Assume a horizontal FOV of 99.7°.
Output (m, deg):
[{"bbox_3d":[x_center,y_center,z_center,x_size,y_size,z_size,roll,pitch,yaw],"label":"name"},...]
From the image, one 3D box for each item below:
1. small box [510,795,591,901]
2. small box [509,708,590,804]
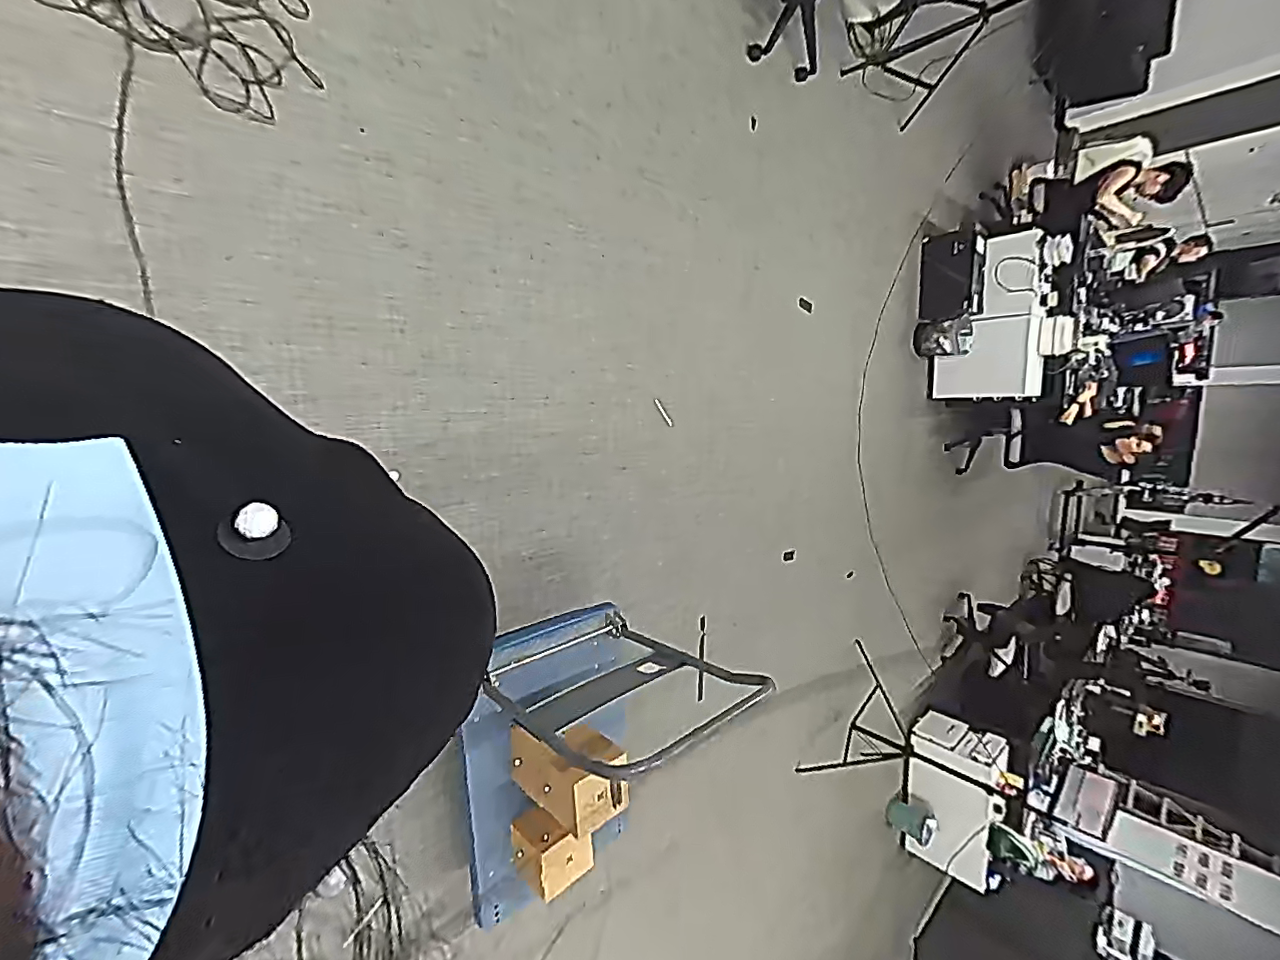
[{"bbox_3d":[-0.270,1.093,1.629,0.179,0.176,0.168,-13,104,-41],"label":"small box"},{"bbox_3d":[-0.267,0.801,1.593,0.179,0.176,0.168,-5,98,-42],"label":"small box"}]
